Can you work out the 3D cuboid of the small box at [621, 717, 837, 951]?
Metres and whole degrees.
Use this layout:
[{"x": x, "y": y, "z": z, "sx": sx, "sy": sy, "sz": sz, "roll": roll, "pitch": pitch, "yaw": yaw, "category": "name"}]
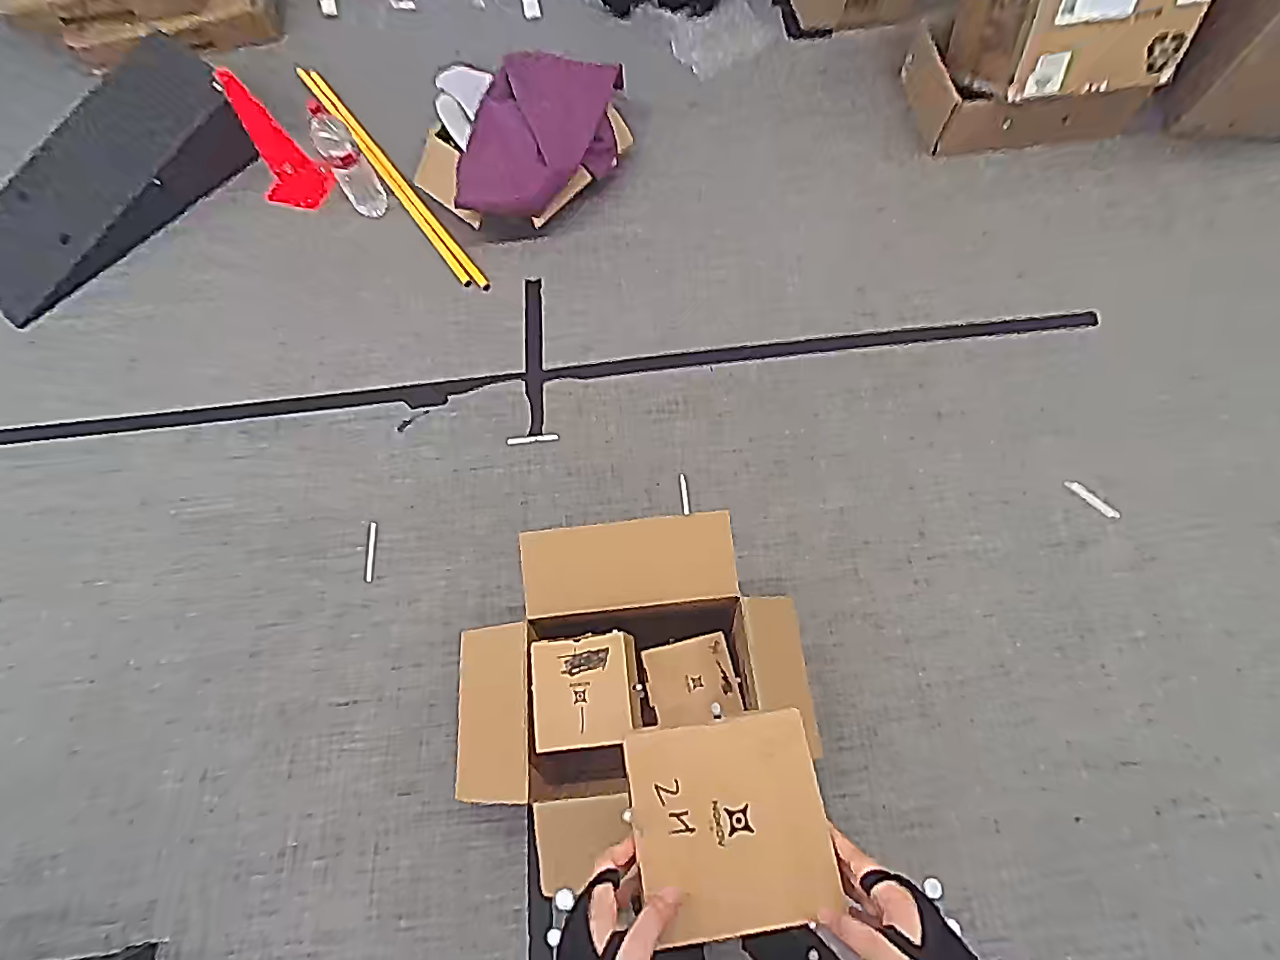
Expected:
[{"x": 0.078, "y": 0.350, "z": 0.570, "sx": 0.179, "sy": 0.176, "sz": 0.168, "roll": -8, "pitch": 66, "yaw": -1, "category": "small box"}]
